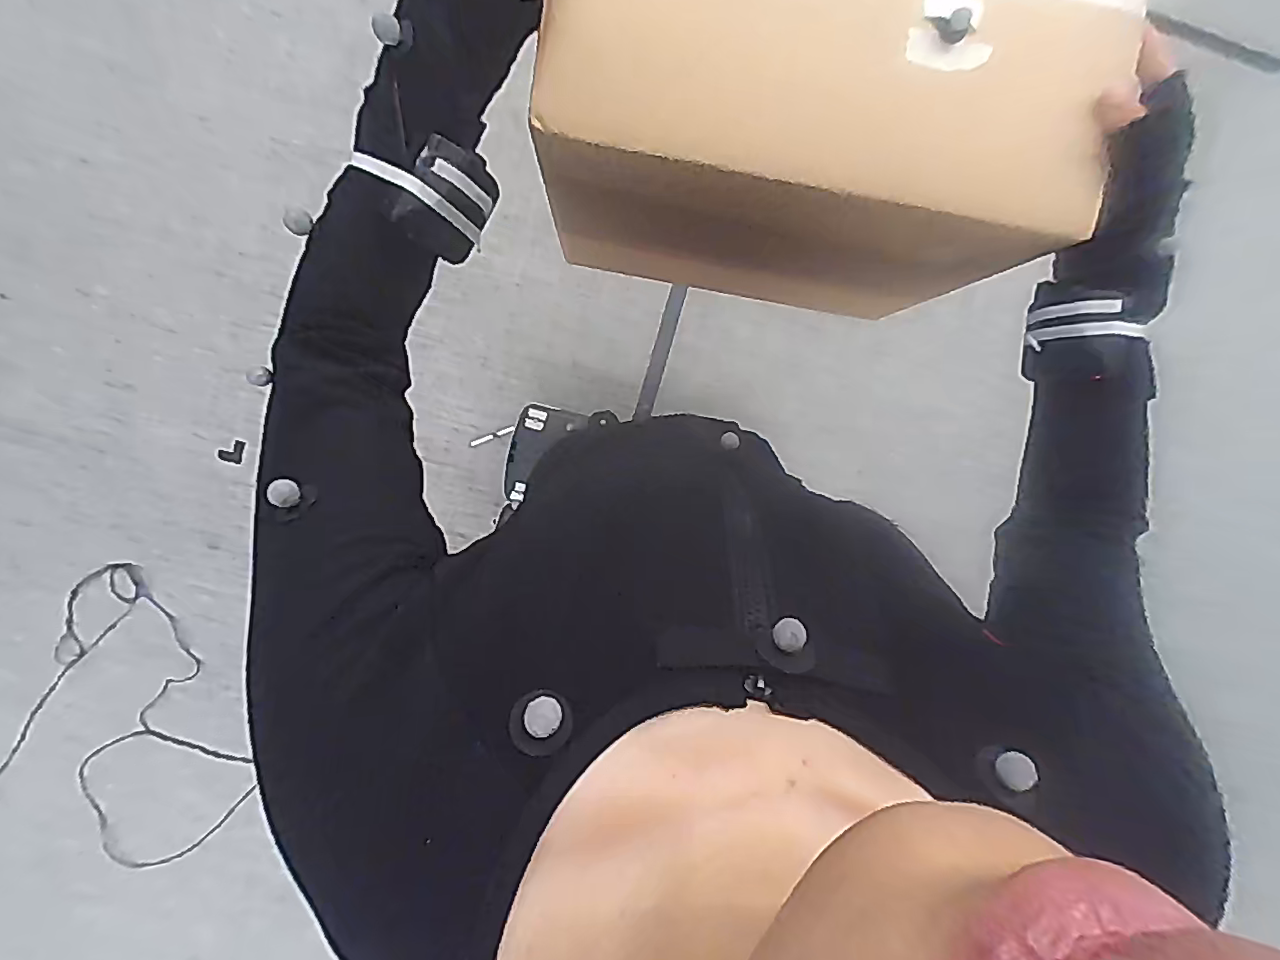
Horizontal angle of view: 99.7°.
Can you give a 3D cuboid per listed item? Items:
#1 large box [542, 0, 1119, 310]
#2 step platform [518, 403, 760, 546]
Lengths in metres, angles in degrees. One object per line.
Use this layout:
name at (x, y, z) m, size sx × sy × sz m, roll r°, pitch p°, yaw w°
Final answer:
large box at (0.135, -0.378, 0.522) m, size 0.408 × 0.320 × 0.320 m, roll 9°, pitch 96°, yaw -5°
step platform at (-0.003, -0.015, 1.577) m, size 0.684 × 0.204 × 0.286 m, roll 13°, pitch 94°, yaw -6°
